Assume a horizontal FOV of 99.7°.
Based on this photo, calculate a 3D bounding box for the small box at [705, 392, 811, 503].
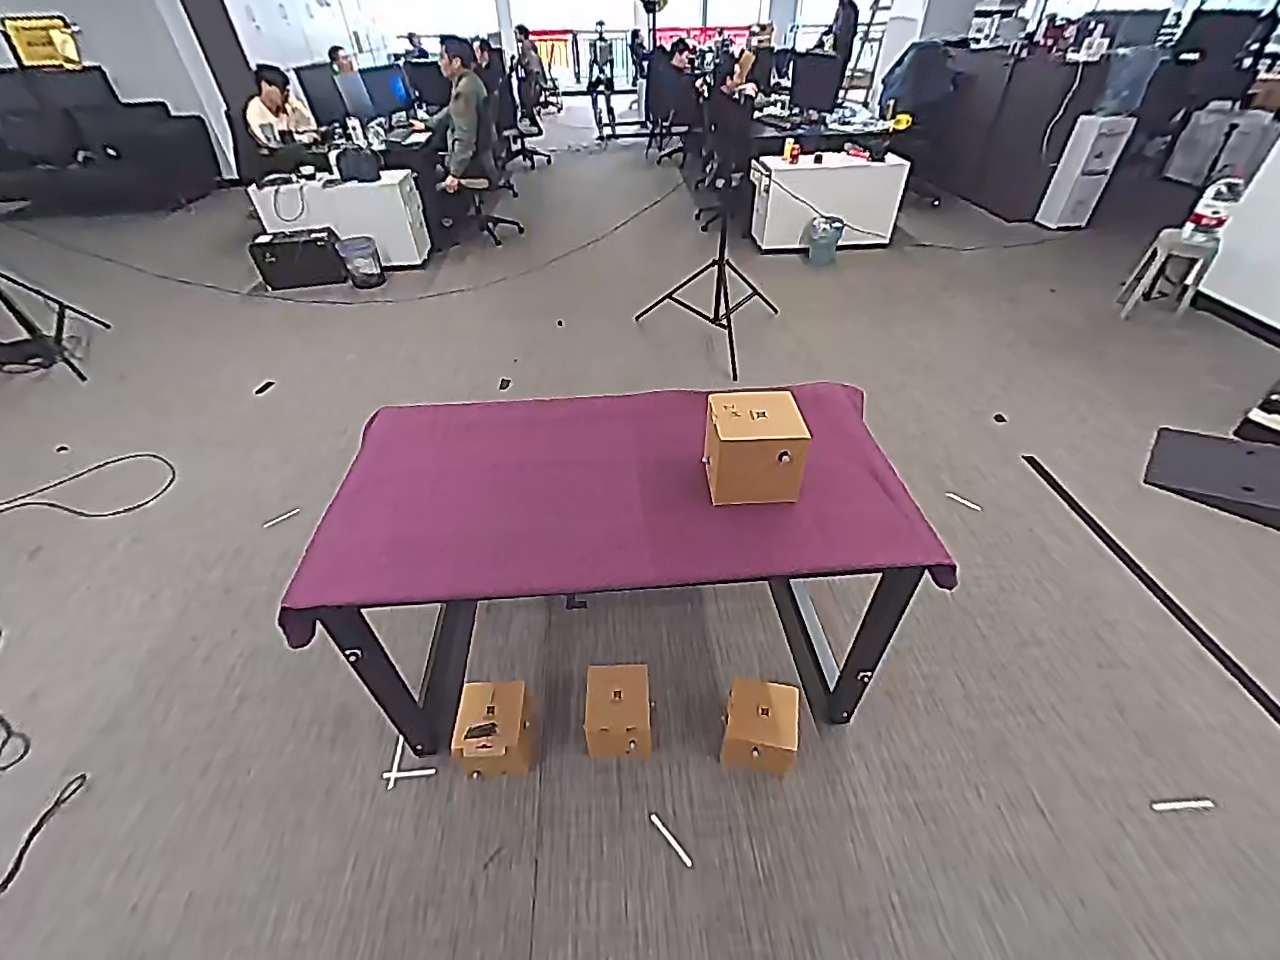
[{"bbox_3d":[0.235,-0.066,1.123,0.179,0.176,0.168,-3,41,0],"label":"small box"}]

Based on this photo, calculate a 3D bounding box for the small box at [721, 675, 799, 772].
[{"bbox_3d":[0.314,0.644,1.422,0.179,0.176,0.168,7,43,11],"label":"small box"}]

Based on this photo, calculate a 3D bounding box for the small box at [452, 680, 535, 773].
[{"bbox_3d":[-0.378,0.655,1.428,0.168,0.176,0.179,-3,40,-2],"label":"small box"}]

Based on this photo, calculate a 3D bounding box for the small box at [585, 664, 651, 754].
[{"bbox_3d":[-0.057,0.622,1.458,0.168,0.176,0.179,-2,41,-1],"label":"small box"}]
